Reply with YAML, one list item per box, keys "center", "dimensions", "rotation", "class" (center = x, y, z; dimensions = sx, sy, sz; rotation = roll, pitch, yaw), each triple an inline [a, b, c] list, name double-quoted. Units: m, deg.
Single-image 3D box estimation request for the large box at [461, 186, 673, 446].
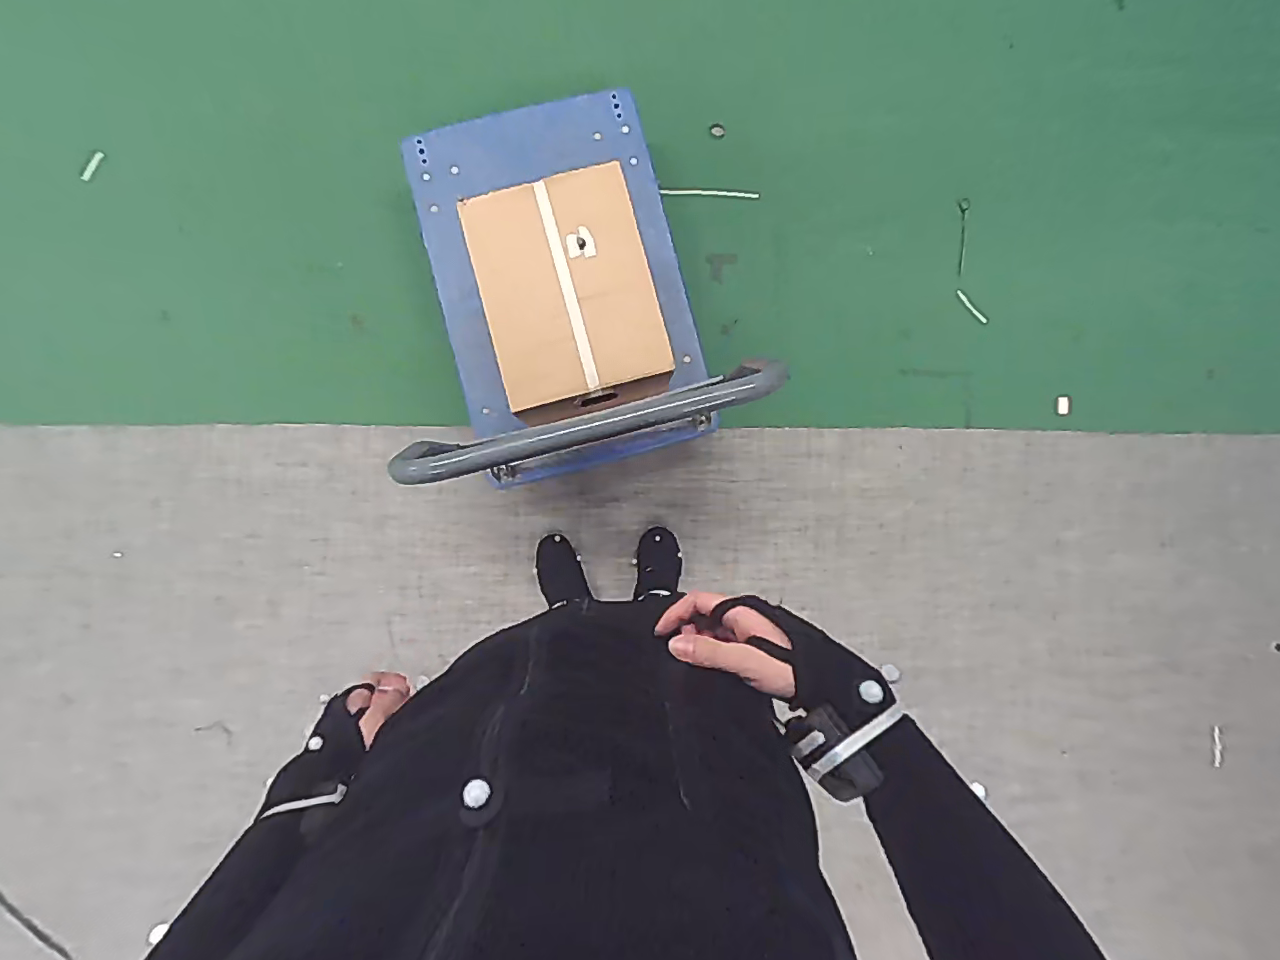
- center: [-0.137, -0.319, 1.159]
  dimensions: [0.320, 0.320, 0.408]
  rotation: [-15, 87, -2]
  class: "large box"
